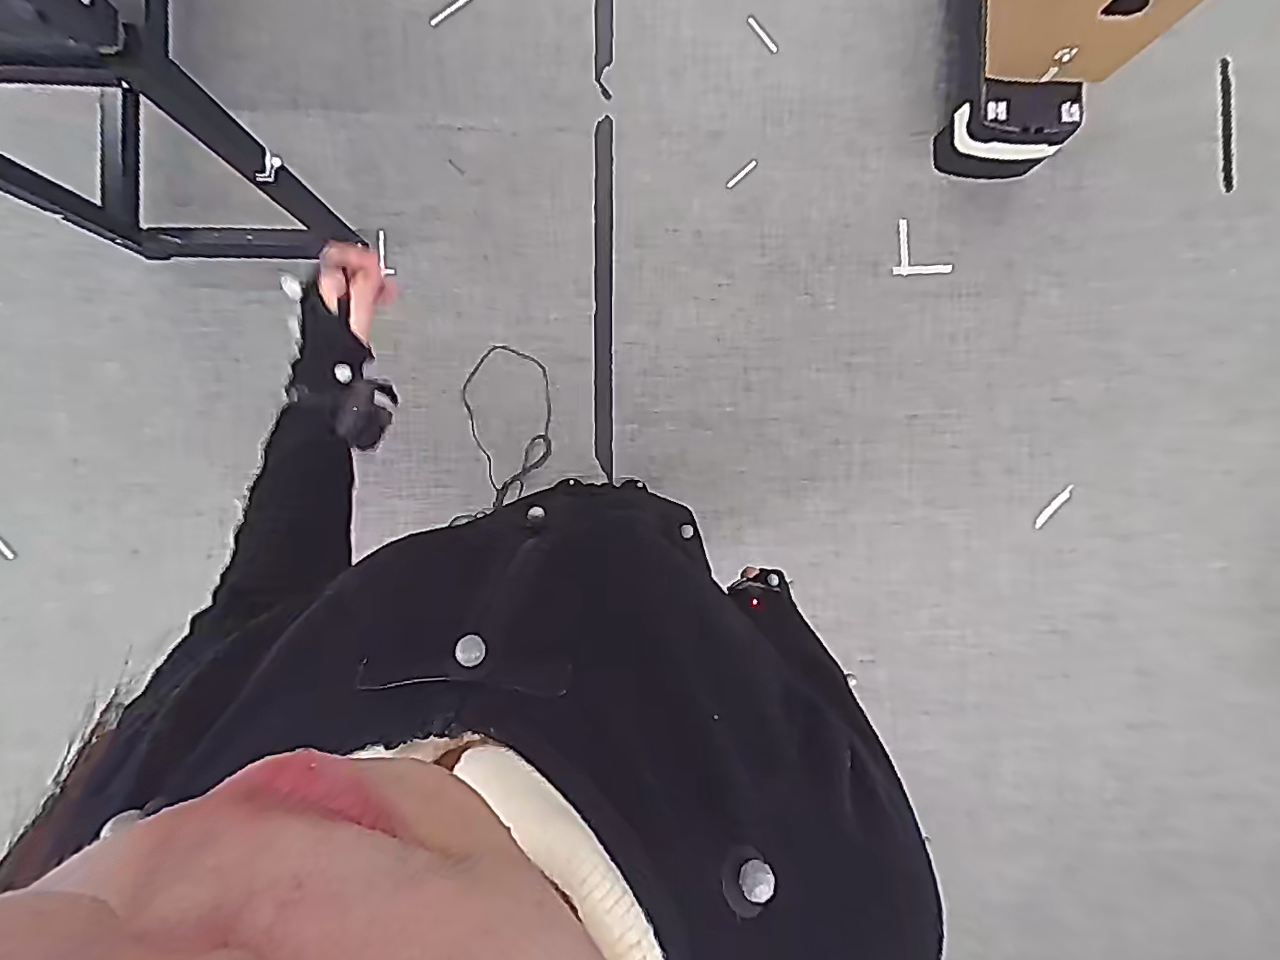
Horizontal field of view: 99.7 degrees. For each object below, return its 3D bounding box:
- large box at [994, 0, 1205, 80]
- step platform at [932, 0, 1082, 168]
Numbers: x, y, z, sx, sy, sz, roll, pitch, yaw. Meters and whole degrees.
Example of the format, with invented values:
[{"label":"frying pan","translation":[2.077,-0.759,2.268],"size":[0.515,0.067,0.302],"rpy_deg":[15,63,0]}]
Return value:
[{"label":"large box","translation":[1.036,-1.200,1.206],"size":[0.320,0.320,0.408],"rpy_deg":[0,89,-3]},{"label":"step platform","translation":[0.999,-1.230,1.442],"size":[0.286,0.204,0.684],"rpy_deg":[6,89,-3]}]
